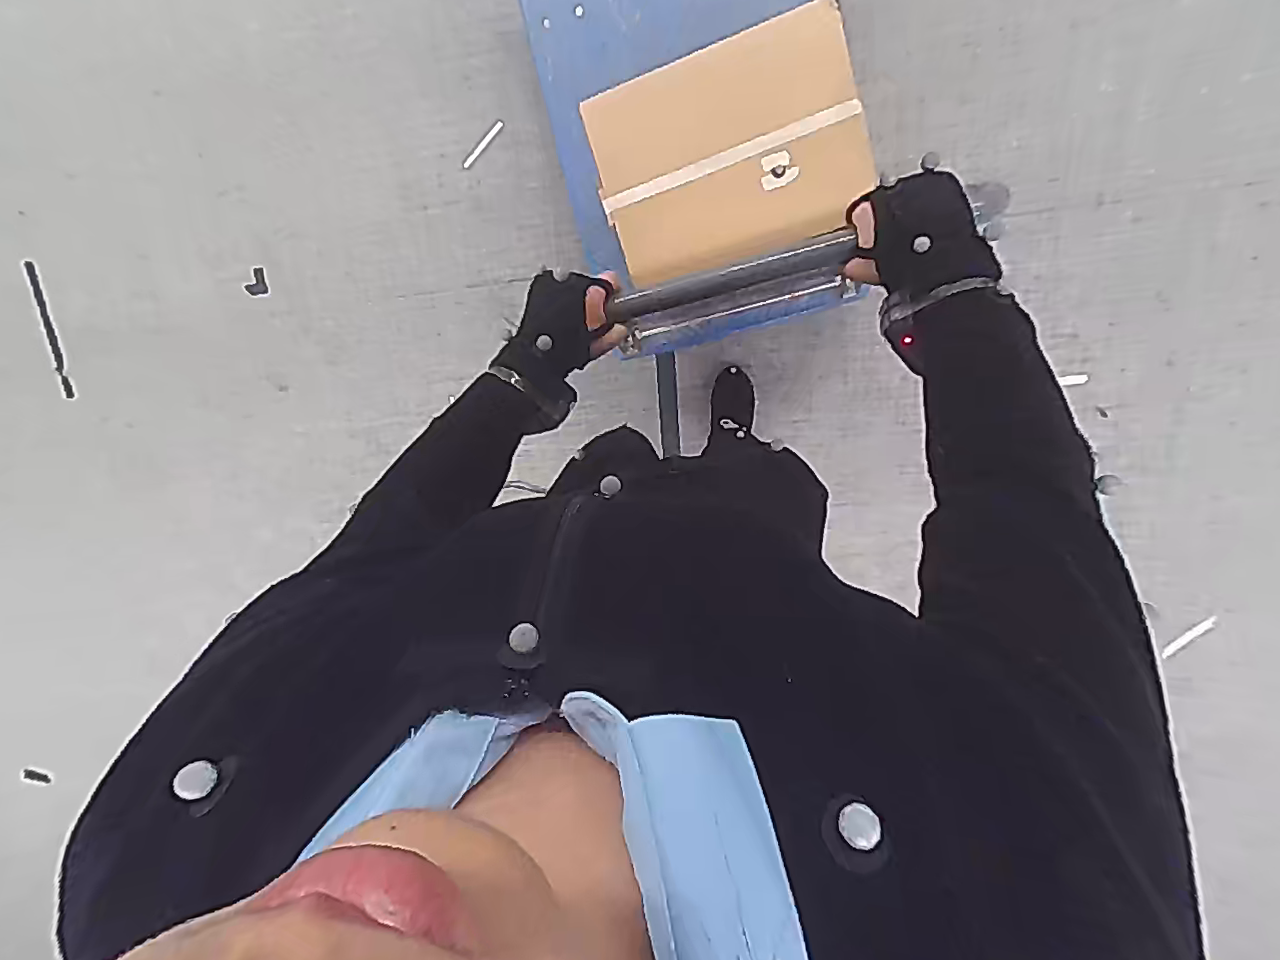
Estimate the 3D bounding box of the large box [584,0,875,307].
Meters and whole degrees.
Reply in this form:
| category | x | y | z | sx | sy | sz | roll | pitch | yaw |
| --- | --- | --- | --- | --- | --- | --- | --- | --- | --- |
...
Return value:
| category | x | y | z | sx | sy | sz | roll | pitch | yaw |
| --- | --- | --- | --- | --- | --- | --- | --- | --- | --- |
| large box | 0.157 | -0.547 | 1.005 | 0.408 | 0.320 | 0.320 | -16 | 102 | 10 |
